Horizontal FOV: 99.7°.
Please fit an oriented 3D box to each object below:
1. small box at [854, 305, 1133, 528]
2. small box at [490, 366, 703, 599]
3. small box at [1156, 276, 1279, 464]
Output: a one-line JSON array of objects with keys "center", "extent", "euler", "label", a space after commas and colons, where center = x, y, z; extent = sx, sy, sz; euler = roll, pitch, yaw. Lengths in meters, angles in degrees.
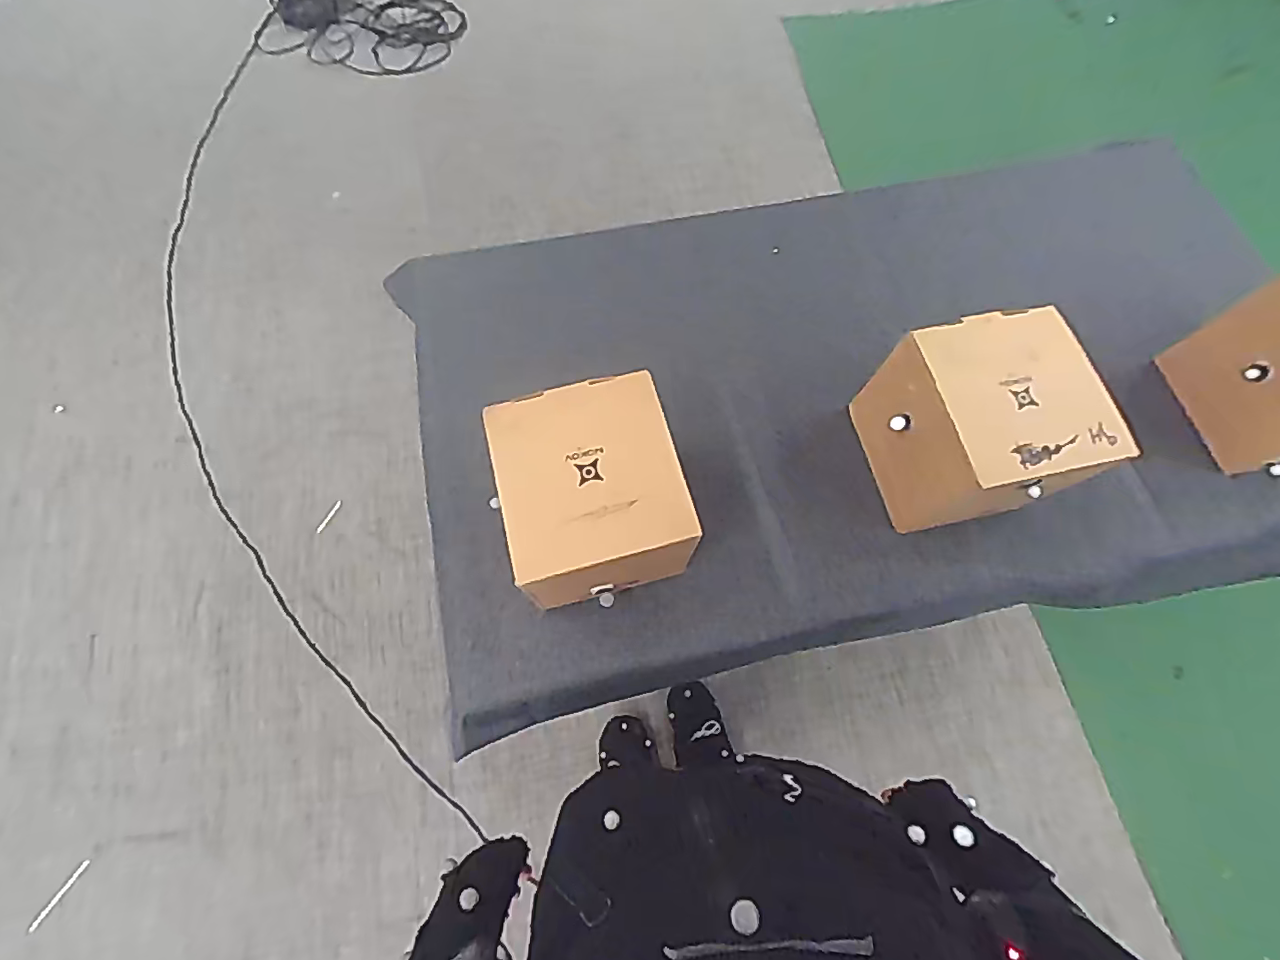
[{"center": [0.368, -0.063, 0.607], "extent": [0.168, 0.176, 0.179], "euler": [-11, 70, -5], "label": "small box"}, {"center": [-0.046, 0.012, 0.569], "extent": [0.168, 0.176, 0.179], "euler": [-15, 71, -6], "label": "small box"}, {"center": [0.789, -0.129, 0.636], "extent": [0.168, 0.176, 0.179], "euler": [-10, 70, -4], "label": "small box"}]
